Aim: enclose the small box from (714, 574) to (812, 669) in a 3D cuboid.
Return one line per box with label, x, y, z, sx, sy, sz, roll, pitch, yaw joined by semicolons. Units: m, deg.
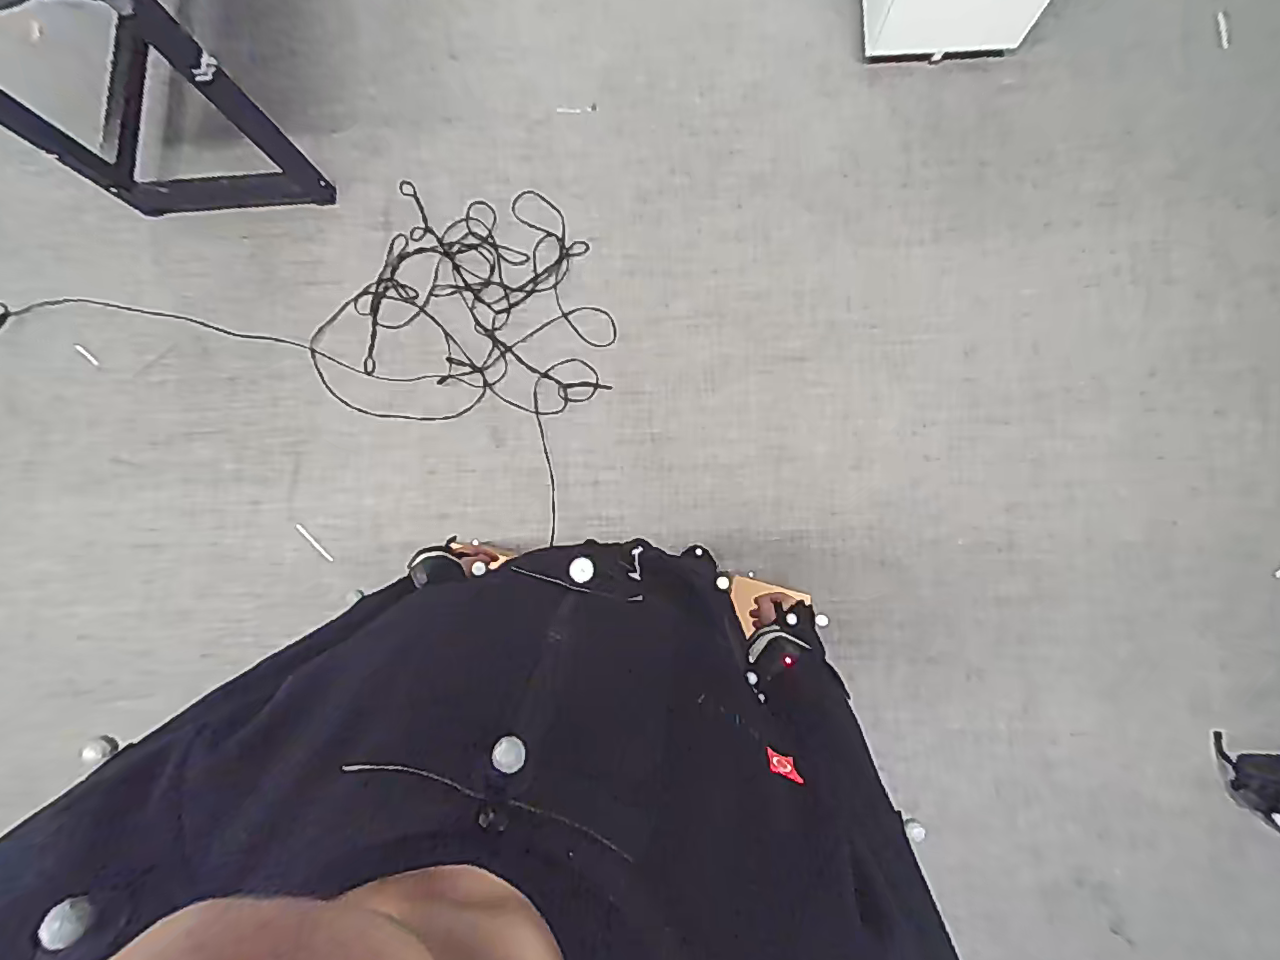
small box;0.279;0.320;1.265;0.179;0.176;0.168;14;85;5
